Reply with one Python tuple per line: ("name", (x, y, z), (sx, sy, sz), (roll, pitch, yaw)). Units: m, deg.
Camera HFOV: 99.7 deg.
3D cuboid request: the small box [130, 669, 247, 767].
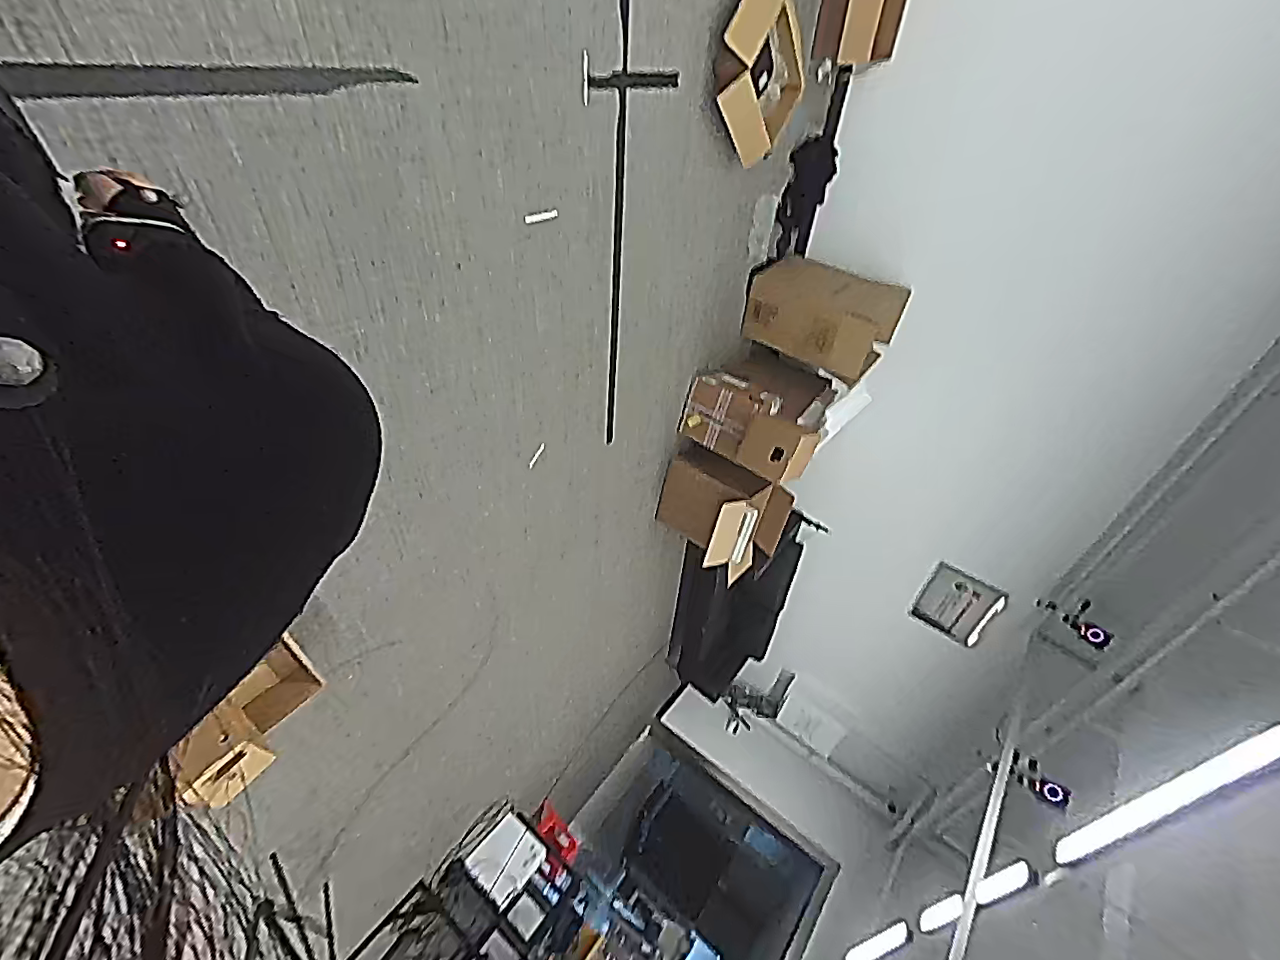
("small box", (-1.288, 0.677, 1.547), (0.168, 0.176, 0.179), (-45, 150, -31))
